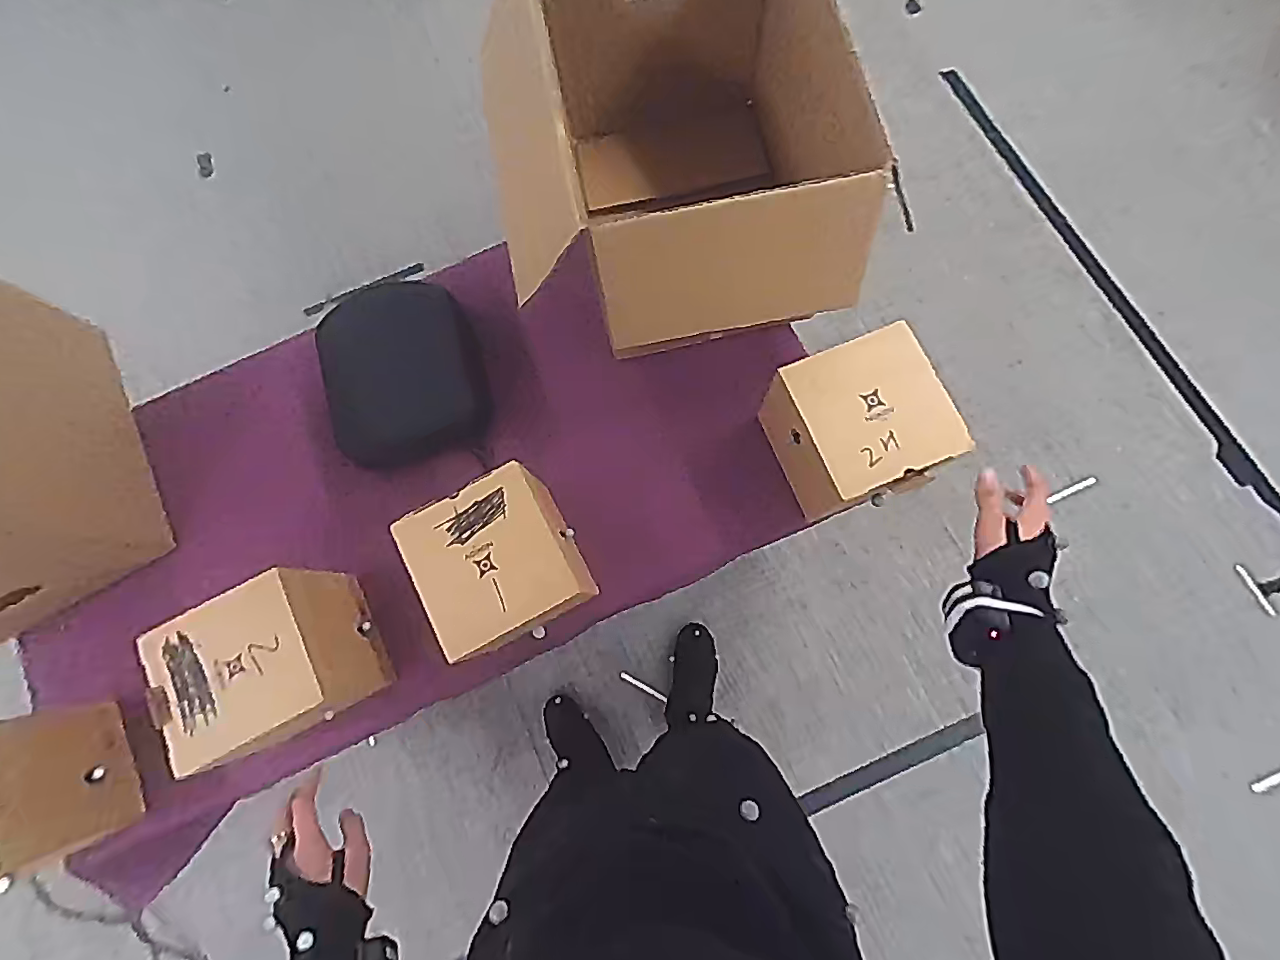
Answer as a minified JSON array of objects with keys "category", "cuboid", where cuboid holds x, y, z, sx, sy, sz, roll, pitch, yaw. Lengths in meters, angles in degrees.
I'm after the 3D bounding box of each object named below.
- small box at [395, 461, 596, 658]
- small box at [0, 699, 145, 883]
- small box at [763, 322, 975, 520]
[{"category":"small box","cuboid":[-0.171,0.104,0.690,0.168,0.176,0.179,-28,78,-2]},{"category":"small box","cuboid":[-0.779,0.395,0.664,0.179,0.176,0.168,-28,77,-4]},{"category":"small box","cuboid":[0.274,-0.065,0.697,0.168,0.176,0.179,-21,77,-1]}]
